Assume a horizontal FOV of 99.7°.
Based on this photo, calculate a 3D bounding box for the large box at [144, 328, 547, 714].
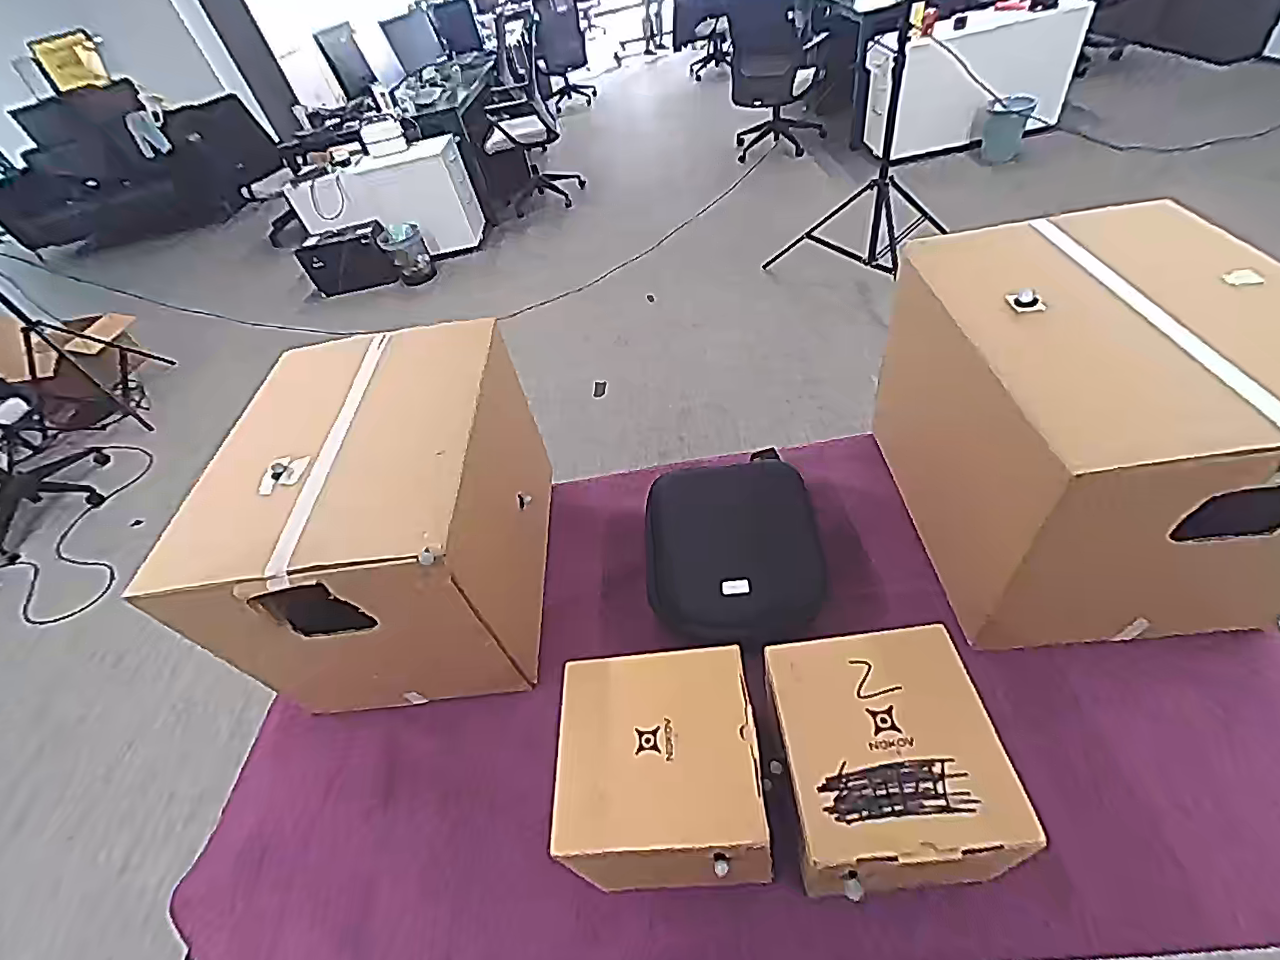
[{"bbox_3d":[-0.316,0.052,0.742,0.320,0.320,0.408,-9,48,4],"label":"large box"}]
